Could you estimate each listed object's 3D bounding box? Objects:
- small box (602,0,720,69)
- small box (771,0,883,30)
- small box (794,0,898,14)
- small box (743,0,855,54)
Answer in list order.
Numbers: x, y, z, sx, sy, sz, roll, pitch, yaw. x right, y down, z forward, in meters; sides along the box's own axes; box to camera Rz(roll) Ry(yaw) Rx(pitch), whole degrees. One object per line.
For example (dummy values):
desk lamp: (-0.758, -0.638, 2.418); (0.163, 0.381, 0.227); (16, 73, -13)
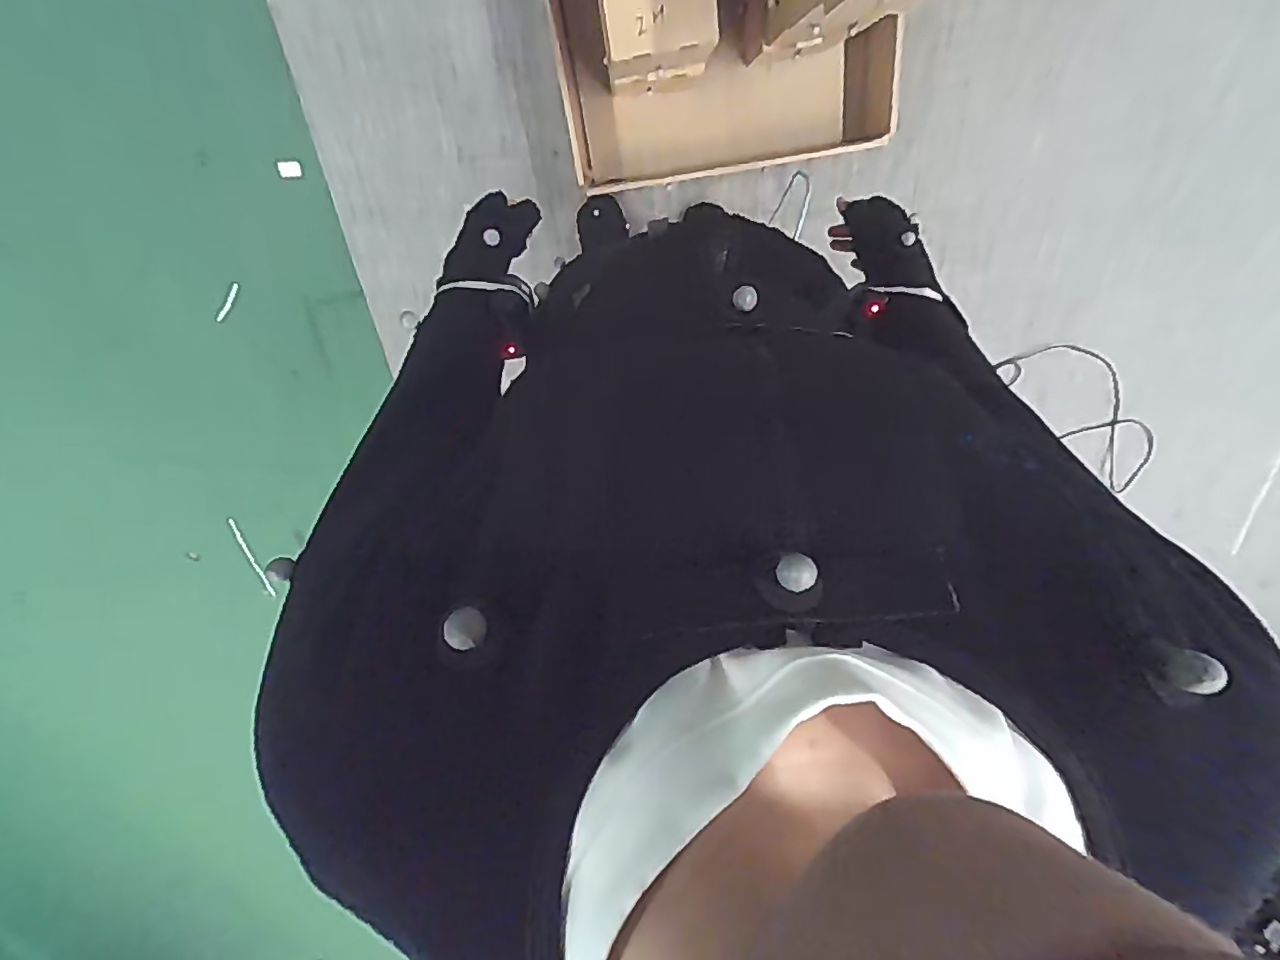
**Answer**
small box: (0.023, -0.766, 0.831); (0.168, 0.176, 0.179); (-9, 120, 3)
small box: (0.291, -0.797, 0.800); (0.168, 0.176, 0.179); (-7, 120, 4)
small box: (0.291, -0.717, 0.677); (0.168, 0.176, 0.179); (-7, 120, 3)
small box: (0.277, -0.886, 0.958); (0.168, 0.176, 0.179); (-10, 120, 7)
